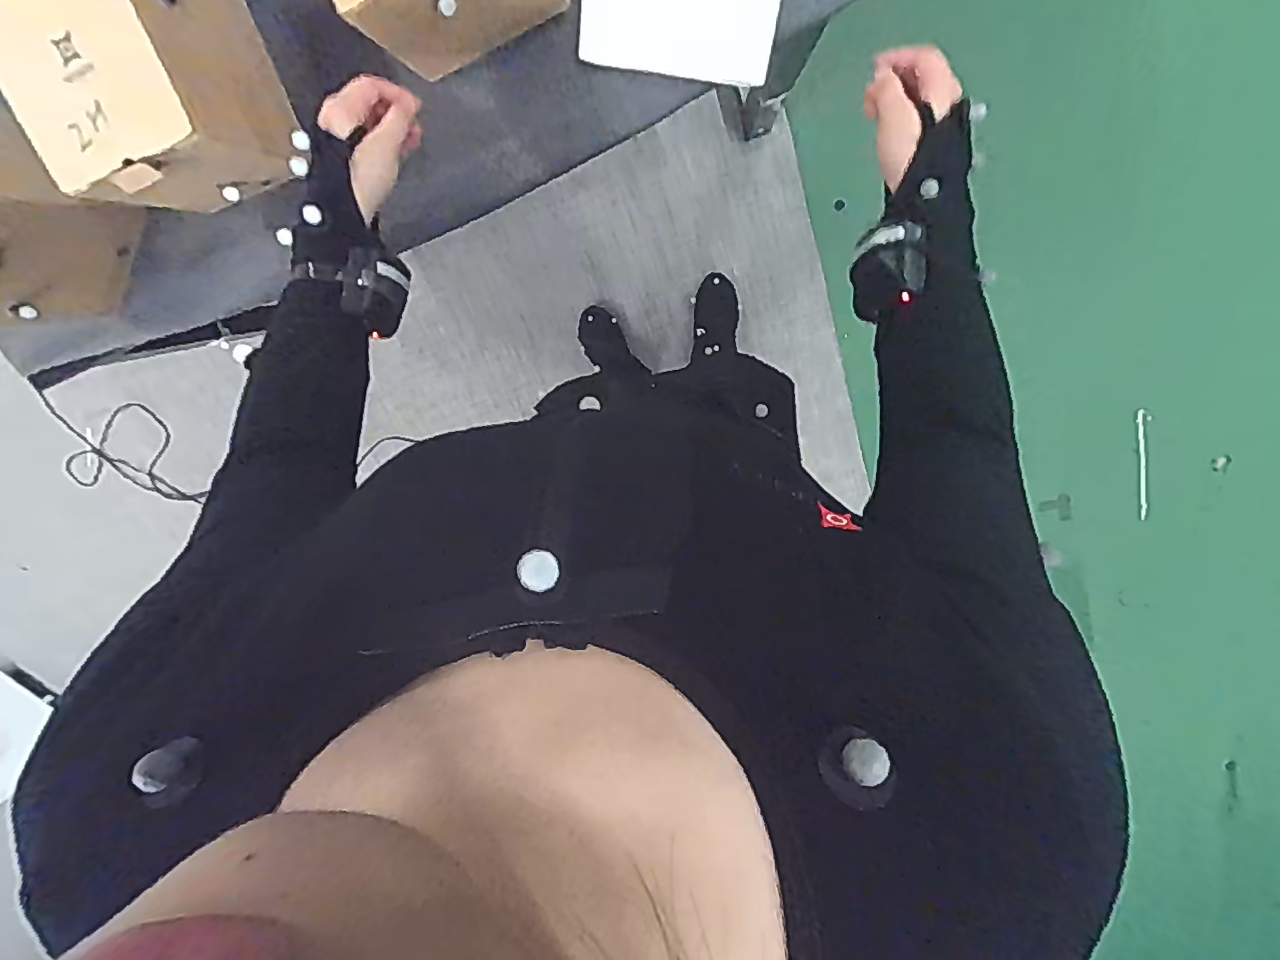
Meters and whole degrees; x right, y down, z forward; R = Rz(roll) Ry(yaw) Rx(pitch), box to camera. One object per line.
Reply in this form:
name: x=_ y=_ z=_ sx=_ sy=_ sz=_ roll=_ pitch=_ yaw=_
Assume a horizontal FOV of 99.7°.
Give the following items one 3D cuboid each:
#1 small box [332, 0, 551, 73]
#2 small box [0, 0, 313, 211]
small box: x=-0.188 y=-0.508 z=0.477 sx=0.179 sy=0.176 sz=0.168 roll=-18 pitch=108 yaw=14
small box: x=-0.491 y=-0.399 z=0.555 sx=0.168 sy=0.176 sz=0.179 roll=-14 pitch=110 yaw=13
